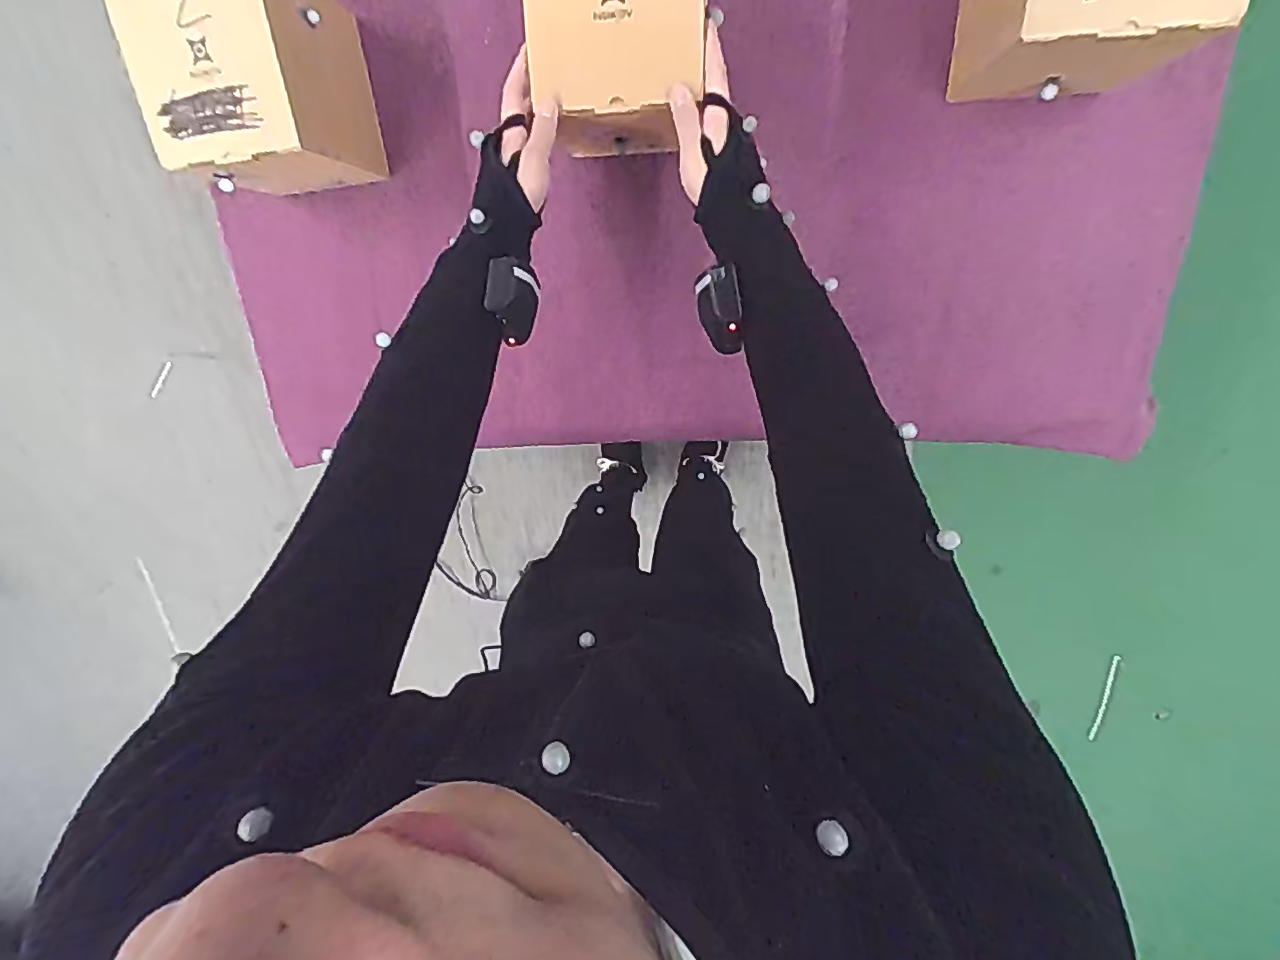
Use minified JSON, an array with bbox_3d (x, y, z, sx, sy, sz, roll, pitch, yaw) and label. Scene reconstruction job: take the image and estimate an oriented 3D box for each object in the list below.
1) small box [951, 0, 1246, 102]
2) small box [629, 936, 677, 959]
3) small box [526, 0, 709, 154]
[{"bbox_3d":[0.410,-0.474,0.491,0.168,0.176,0.179,2,111,8],"label":"small box"},{"bbox_3d":[0.045,1.757,1.899,0.168,0.176,0.179,-1,110,6],"label":"small box"},{"bbox_3d":[-0.014,-0.454,0.552,0.168,0.176,0.179,0,111,6],"label":"small box"}]
